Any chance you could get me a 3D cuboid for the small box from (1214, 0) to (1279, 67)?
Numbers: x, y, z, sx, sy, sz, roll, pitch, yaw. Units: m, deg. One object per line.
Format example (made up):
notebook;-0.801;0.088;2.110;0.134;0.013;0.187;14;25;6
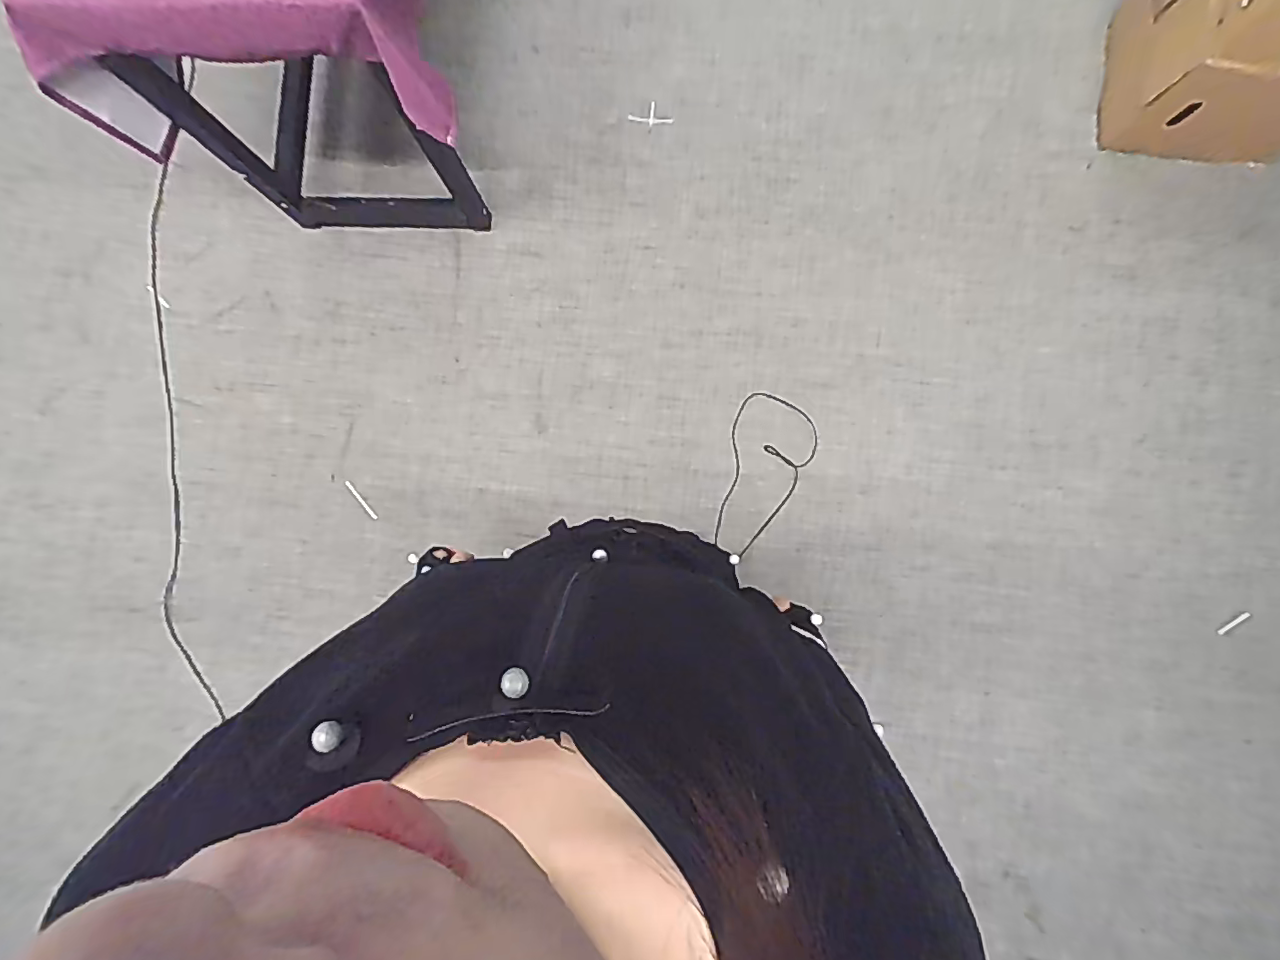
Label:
small box;1.406;-1.037;1.159;0.179;0.176;0.168;13;88;1
